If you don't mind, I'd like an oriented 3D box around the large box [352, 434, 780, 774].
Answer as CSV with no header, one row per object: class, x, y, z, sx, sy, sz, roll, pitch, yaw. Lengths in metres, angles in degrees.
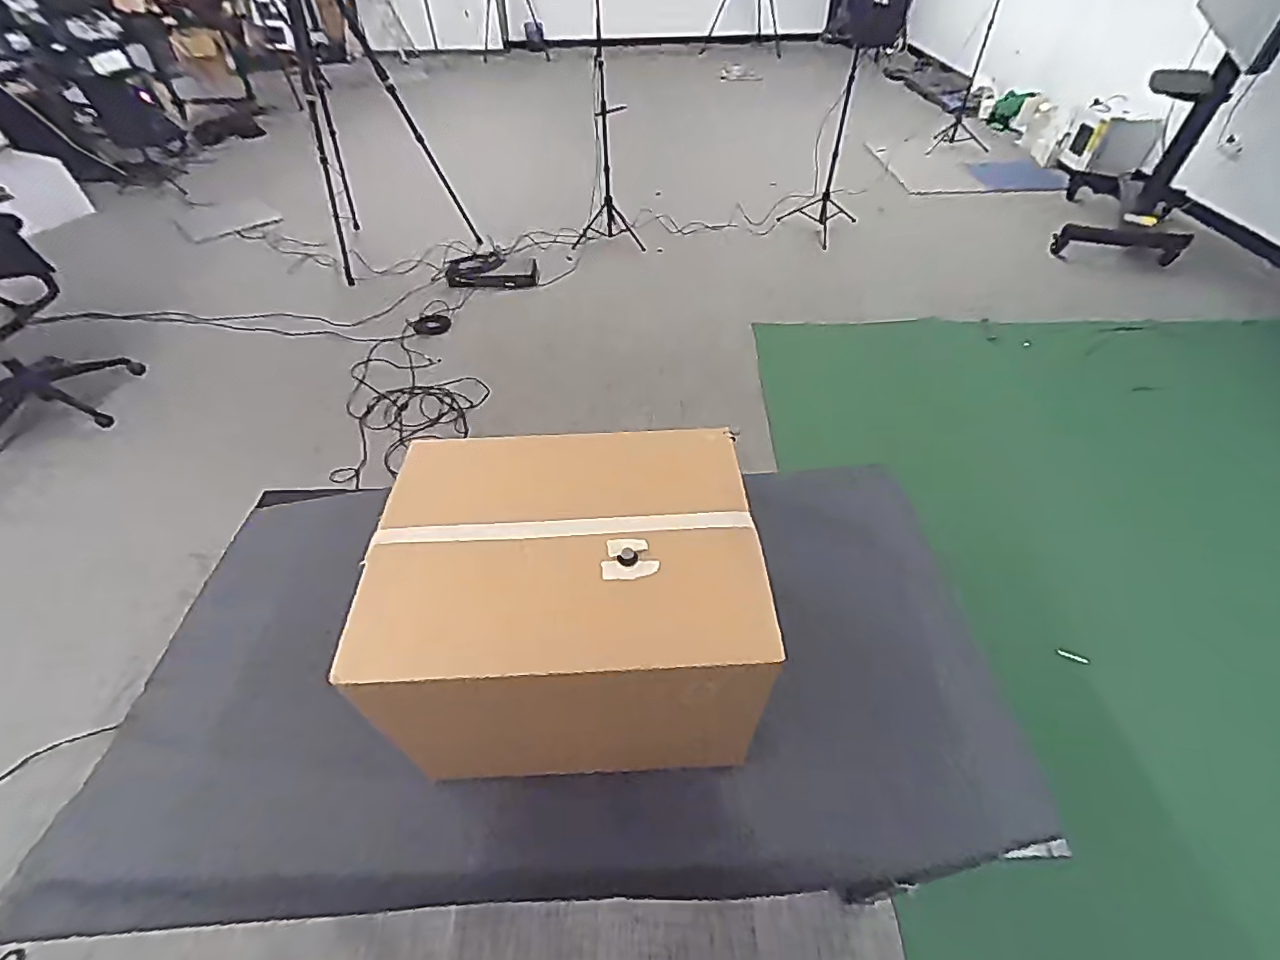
large box,-0.074,0.162,0.704,0.408,0.320,0.320,-2,48,-2
